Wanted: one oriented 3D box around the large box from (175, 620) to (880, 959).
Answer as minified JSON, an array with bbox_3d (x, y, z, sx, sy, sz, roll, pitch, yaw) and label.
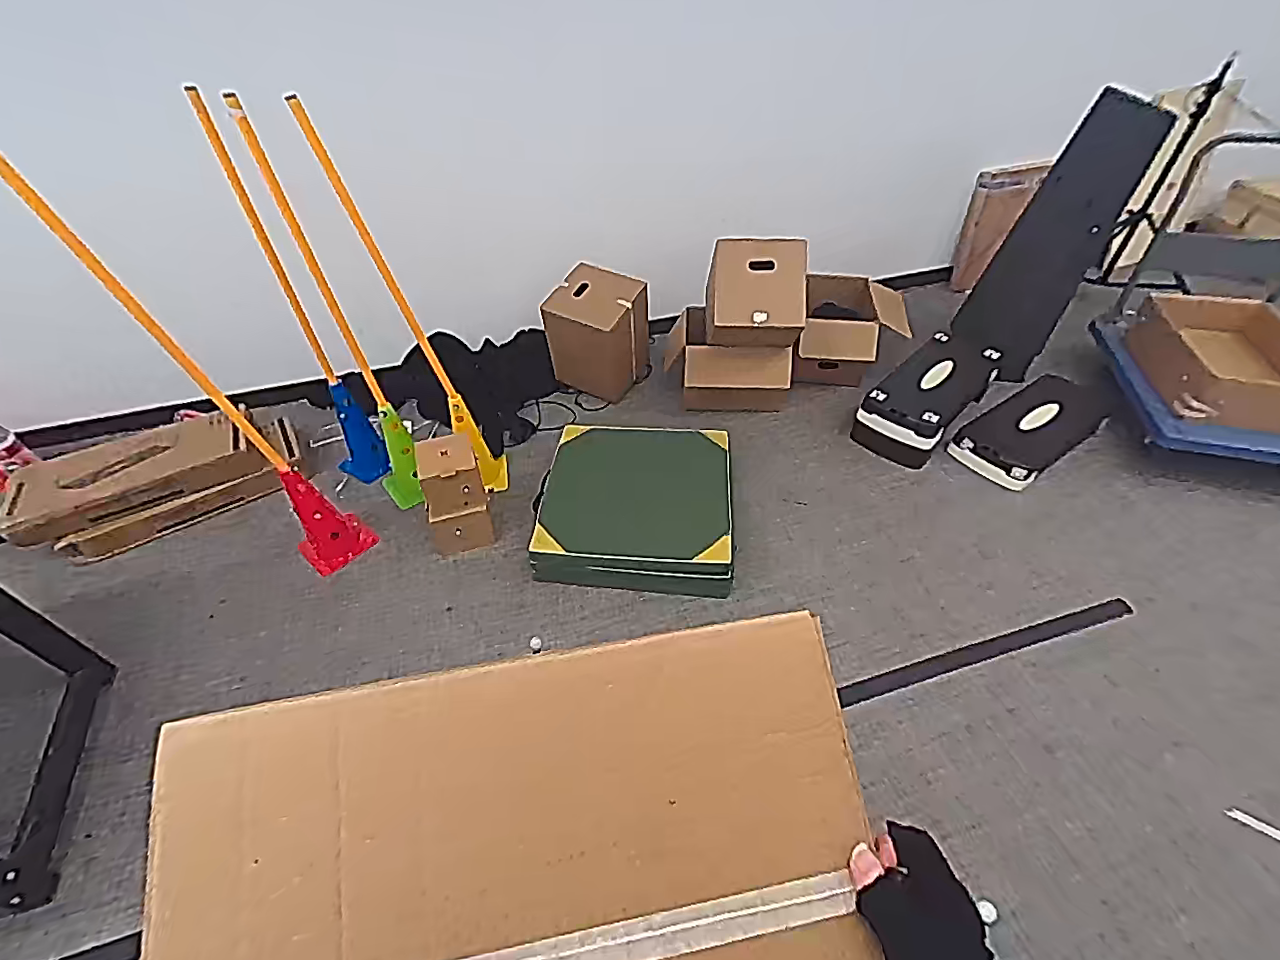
[{"bbox_3d":[-0.065,0.313,0.457,0.408,0.320,0.320,-9,74,-6],"label":"large box"}]
